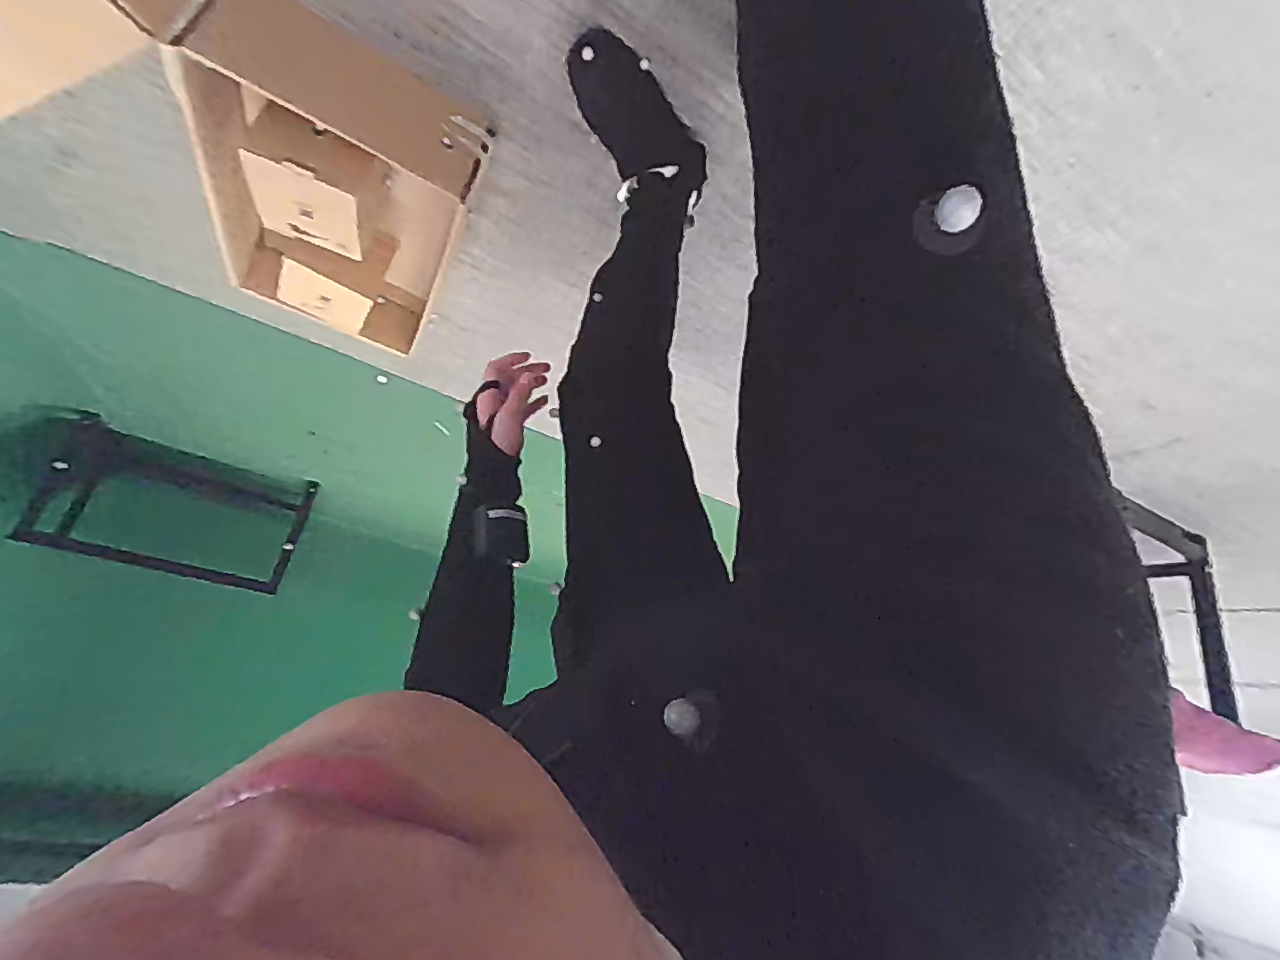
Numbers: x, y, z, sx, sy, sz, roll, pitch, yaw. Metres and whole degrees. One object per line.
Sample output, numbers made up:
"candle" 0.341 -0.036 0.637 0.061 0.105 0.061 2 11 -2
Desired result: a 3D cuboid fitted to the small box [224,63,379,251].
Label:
"small box" -0.549 -0.532 0.902 0.168 0.176 0.179 18 159 -21
